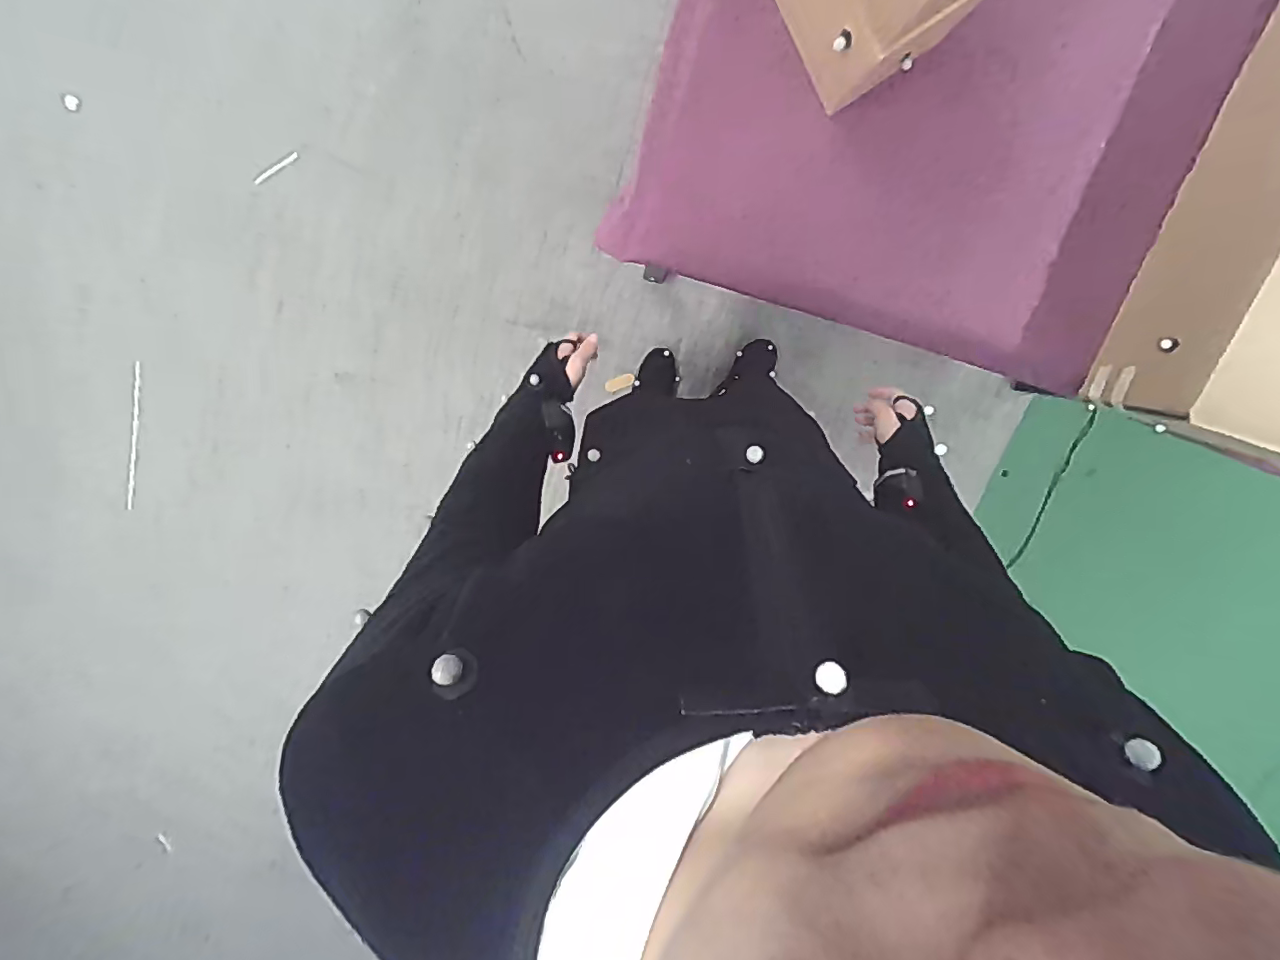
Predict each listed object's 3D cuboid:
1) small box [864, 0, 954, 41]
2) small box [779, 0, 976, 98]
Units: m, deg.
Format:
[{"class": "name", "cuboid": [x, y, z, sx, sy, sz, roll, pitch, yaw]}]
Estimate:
[{"class": "small box", "cuboid": [0.300, -0.568, 0.500, 0.179, 0.176, 0.168, -31, 105, 7]}, {"class": "small box", "cuboid": [0.292, -0.609, 0.658, 0.168, 0.176, 0.179, -31, 103, 7]}]
